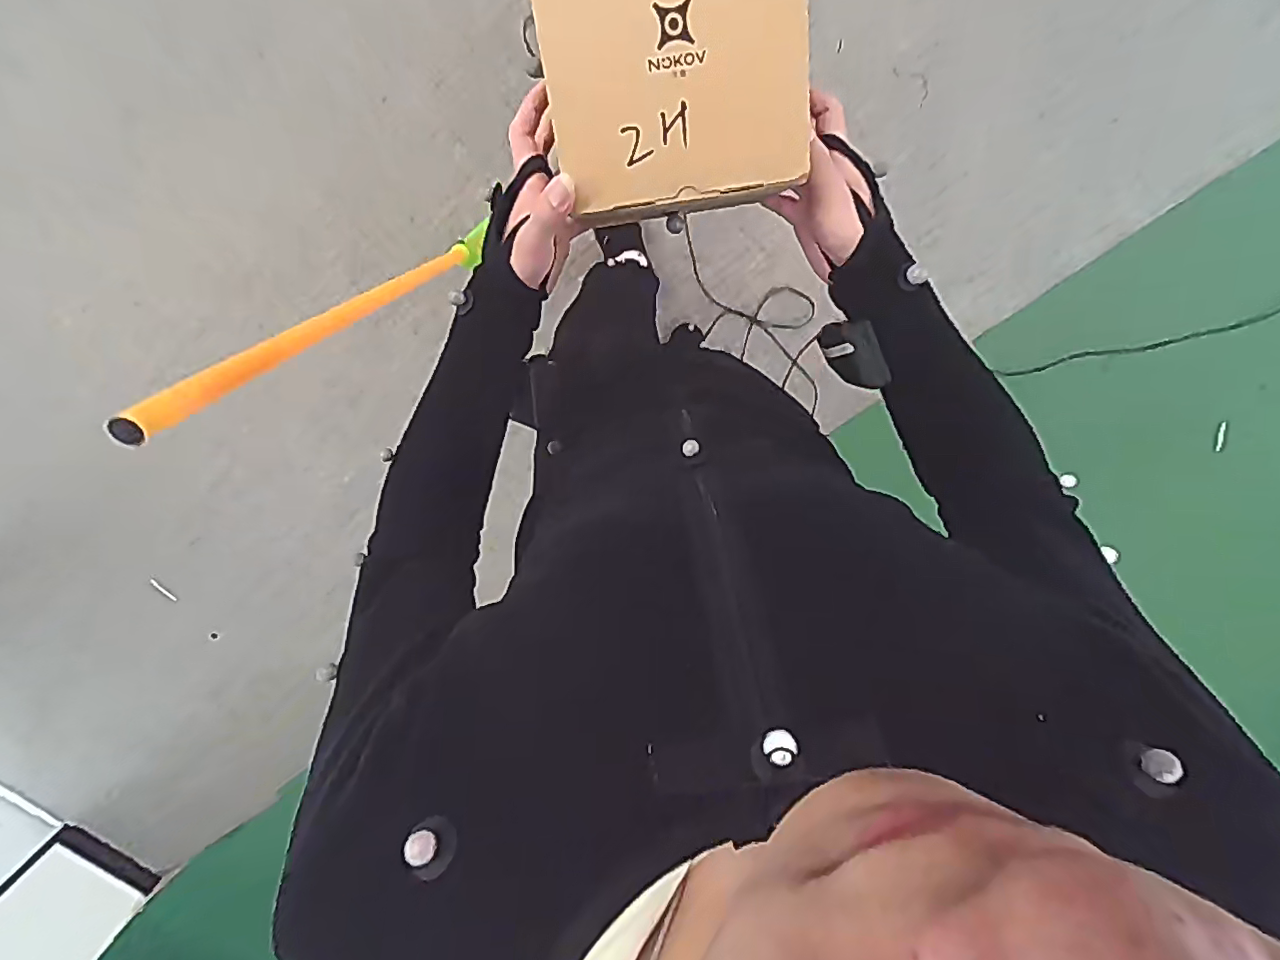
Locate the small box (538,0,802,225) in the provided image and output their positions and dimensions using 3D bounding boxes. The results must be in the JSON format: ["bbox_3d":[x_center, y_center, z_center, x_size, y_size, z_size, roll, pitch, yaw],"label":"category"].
[{"bbox_3d":[0.019,-0.304,0.415,0.168,0.176,0.179,-7,113,2],"label":"small box"}]

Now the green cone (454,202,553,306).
[{"bbox_3d":[-0.364,-0.535,1.285,0.202,0.368,0.200,-35,107,14],"label":"green cone"}]
